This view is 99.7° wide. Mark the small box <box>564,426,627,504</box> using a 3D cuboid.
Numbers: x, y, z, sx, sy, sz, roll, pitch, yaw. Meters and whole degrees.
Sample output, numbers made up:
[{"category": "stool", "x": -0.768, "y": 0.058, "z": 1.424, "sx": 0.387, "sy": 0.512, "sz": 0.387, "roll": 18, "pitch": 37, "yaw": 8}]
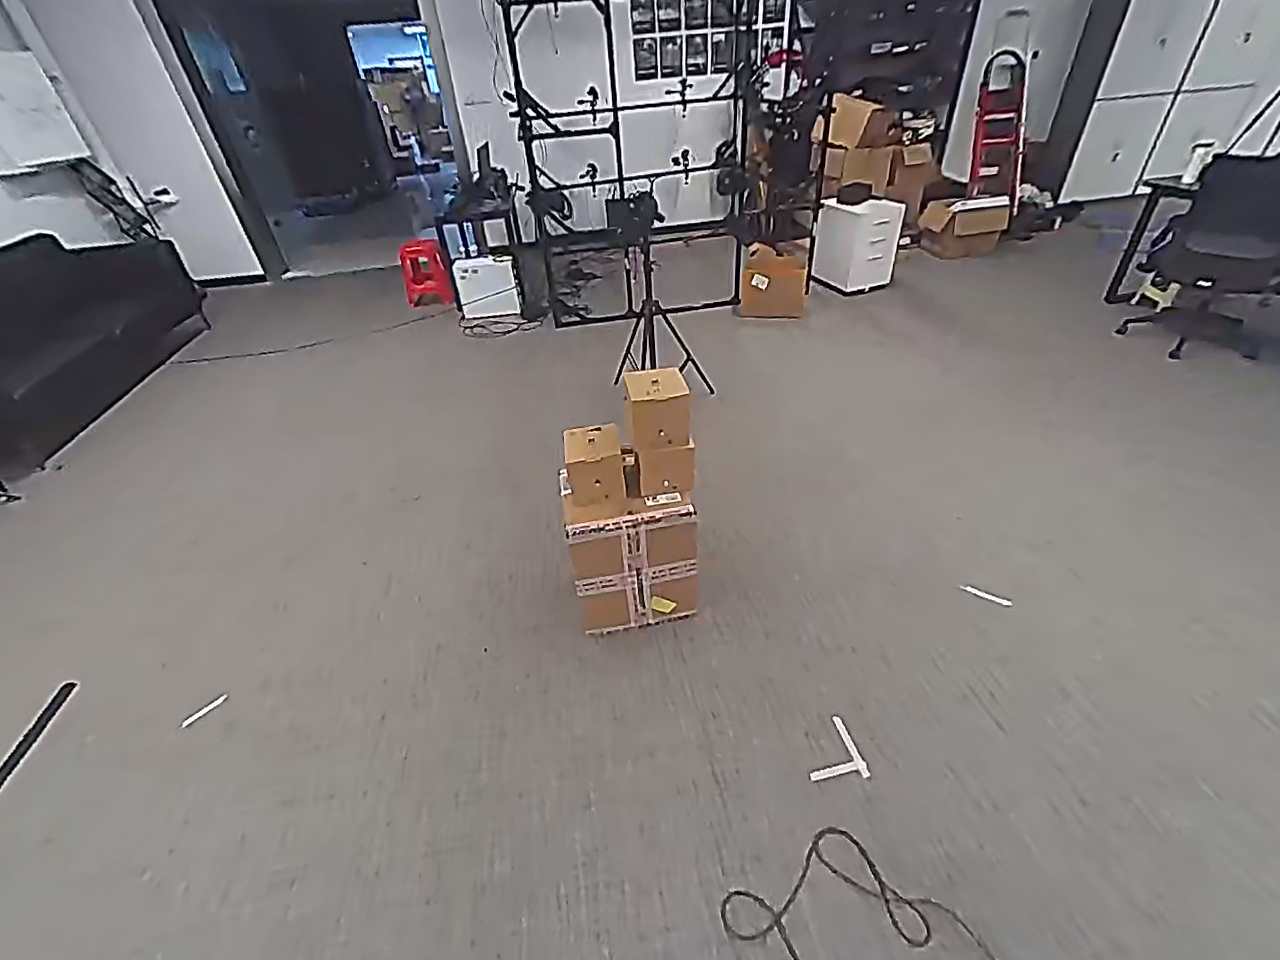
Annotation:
[{"category": "small box", "x": -0.136, "y": -0.040, "z": 1.659, "sx": 0.168, "sy": 0.176, "sz": 0.179, "roll": -9, "pitch": 39, "yaw": -2}]

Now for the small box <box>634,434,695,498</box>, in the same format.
[{"category": "small box", "x": 0.071, "y": -0.066, "z": 1.674, "sx": 0.168, "sy": 0.176, "sz": 0.179, "roll": -7, "pitch": 39, "yaw": -5}]

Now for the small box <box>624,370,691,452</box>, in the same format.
[{"category": "small box", "x": 0.047, "y": -0.201, "z": 1.580, "sx": 0.168, "sy": 0.176, "sz": 0.179, "roll": -8, "pitch": 39, "yaw": -7}]
